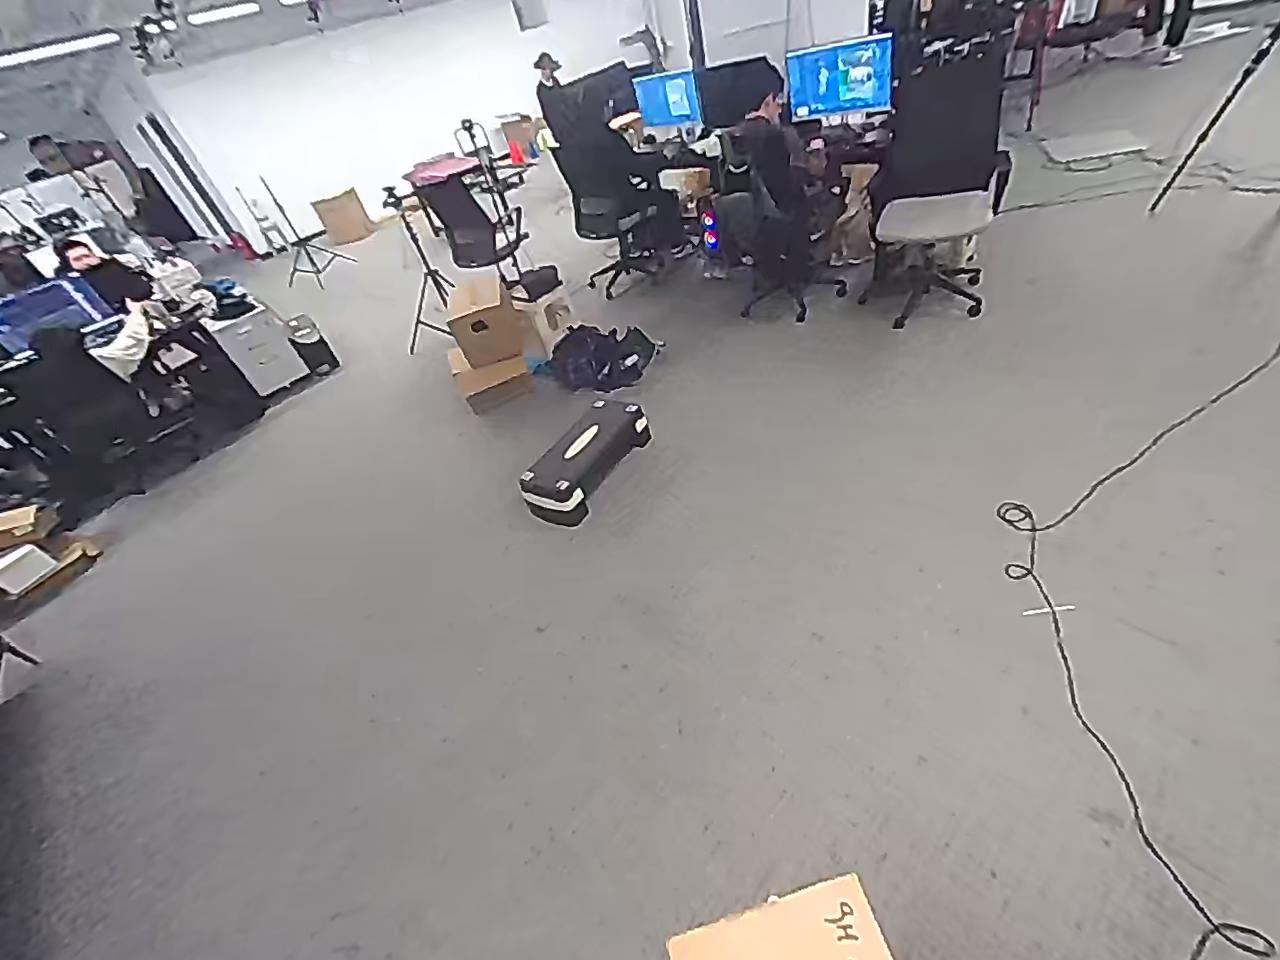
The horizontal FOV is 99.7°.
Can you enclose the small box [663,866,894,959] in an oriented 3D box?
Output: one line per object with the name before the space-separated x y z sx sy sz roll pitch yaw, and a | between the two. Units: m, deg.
small box | 0.142 0.461 0.462 0.179 0.176 0.168 -23 45 5
